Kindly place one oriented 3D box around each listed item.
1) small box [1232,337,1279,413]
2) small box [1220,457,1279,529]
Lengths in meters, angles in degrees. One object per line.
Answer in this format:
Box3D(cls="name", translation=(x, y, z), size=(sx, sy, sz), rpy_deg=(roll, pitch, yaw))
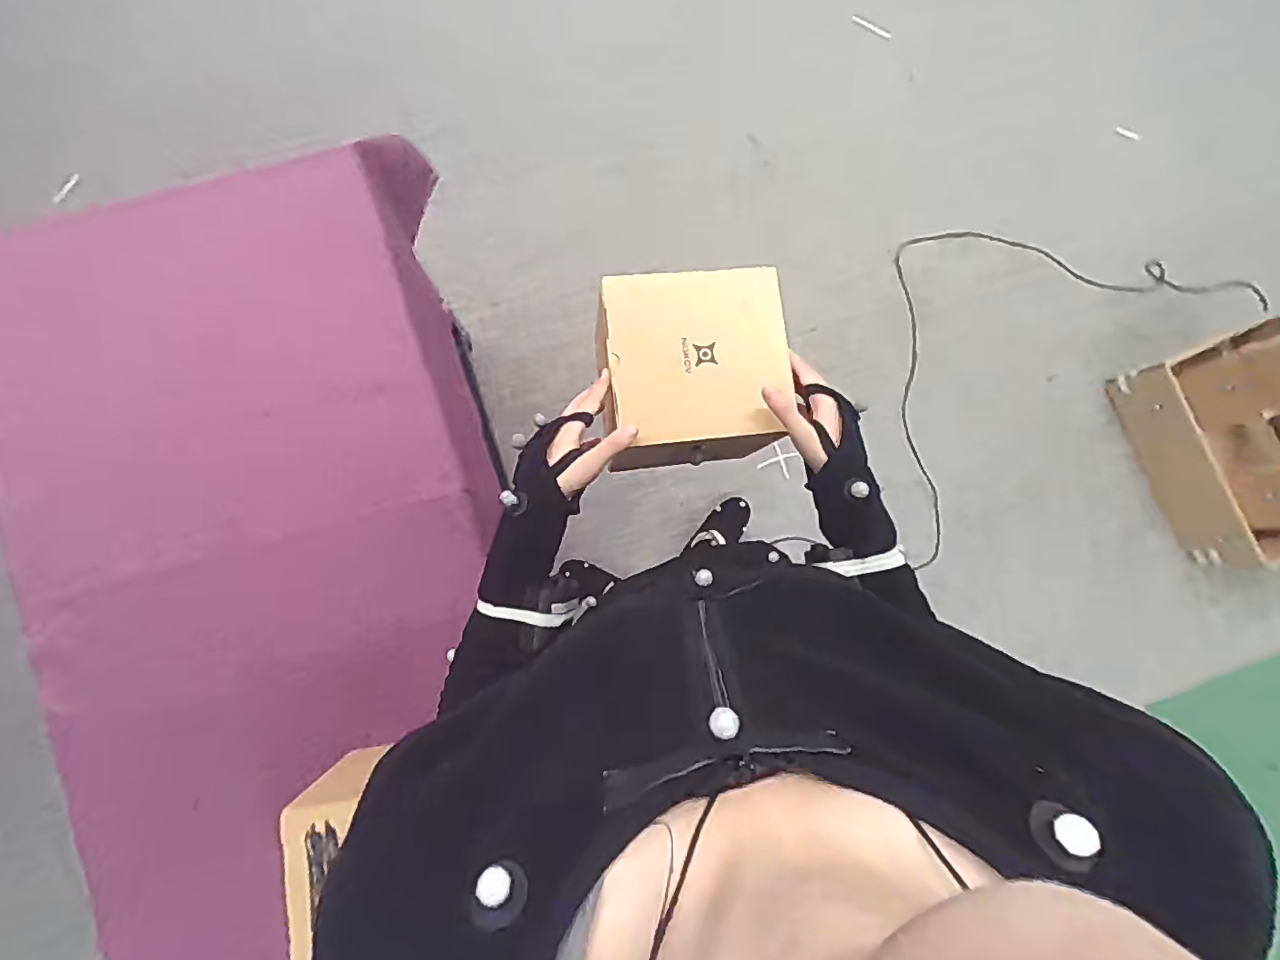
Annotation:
Box3D(cls="small box", translation=(1.690, -0.289, 1.376), size=(0.168, 0.176, 0.179), rpy_deg=(-20, 87, -3))
Box3D(cls="small box", translation=(1.811, 0.033, 1.518), size=(0.168, 0.176, 0.179), rpy_deg=(-20, 86, -5))
